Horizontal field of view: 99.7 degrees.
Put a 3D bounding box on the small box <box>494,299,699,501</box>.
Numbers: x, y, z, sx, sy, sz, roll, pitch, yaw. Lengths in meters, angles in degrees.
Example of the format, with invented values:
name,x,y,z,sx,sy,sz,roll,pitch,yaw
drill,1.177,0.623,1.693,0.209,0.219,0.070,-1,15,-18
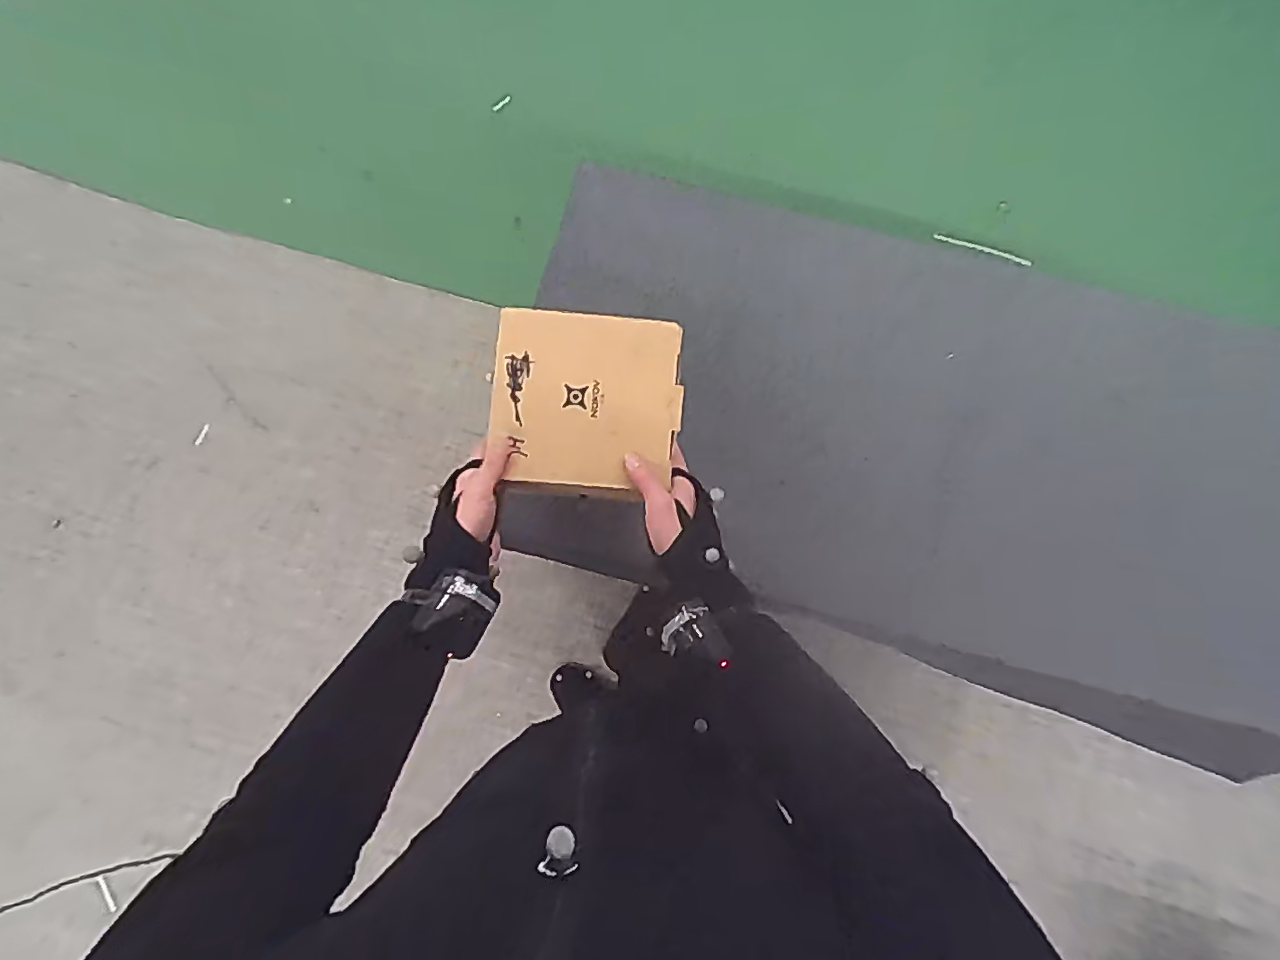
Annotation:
name,x,y,z,sx,sy,sz,roll,pitch,yaw
small box,-0.045,-0.070,0.581,0.179,0.176,0.168,6,82,-4
